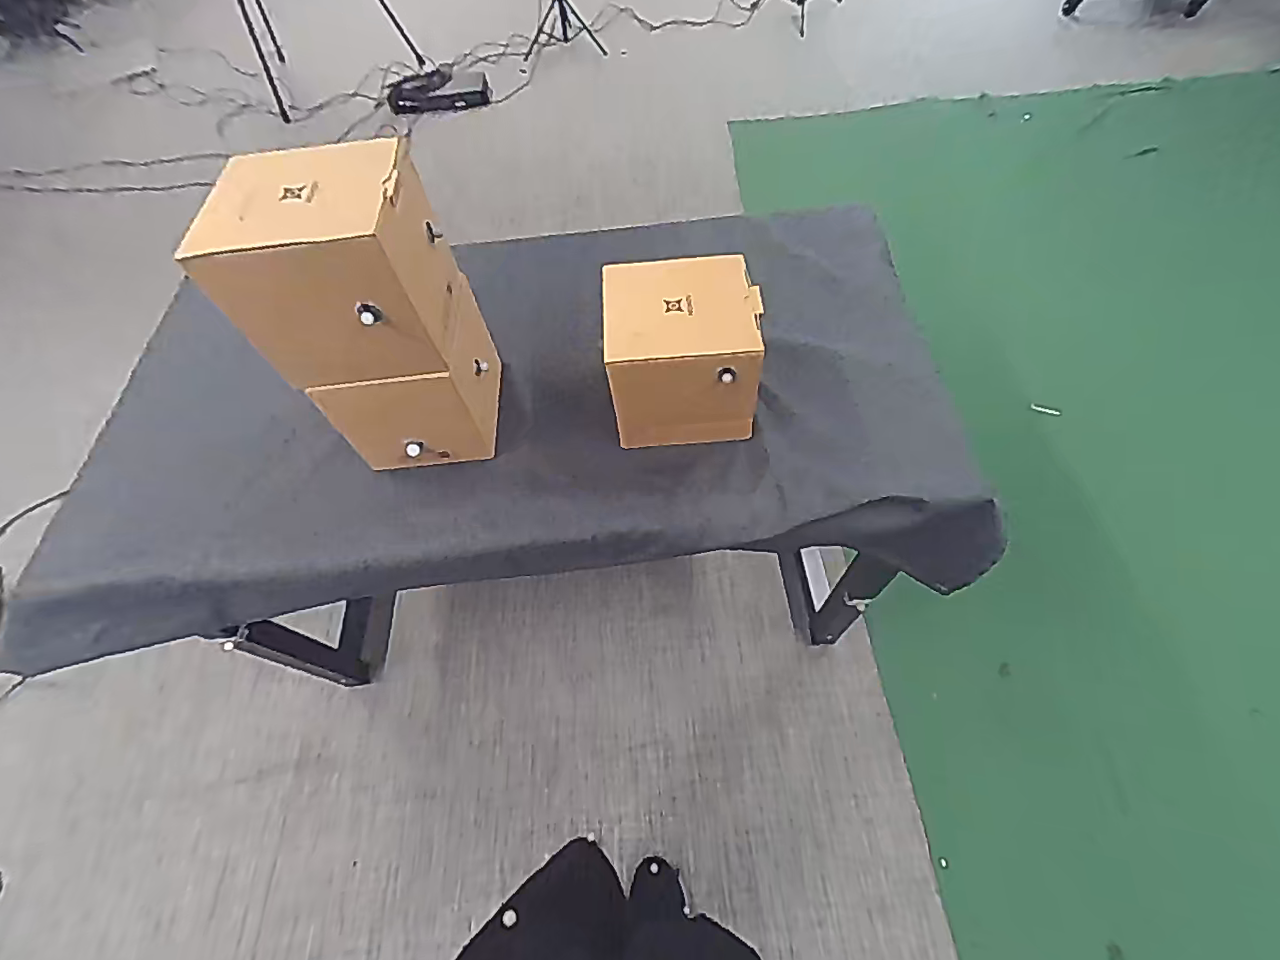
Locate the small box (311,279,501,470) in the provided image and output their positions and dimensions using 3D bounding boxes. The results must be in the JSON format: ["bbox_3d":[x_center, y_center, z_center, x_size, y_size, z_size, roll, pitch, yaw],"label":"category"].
[{"bbox_3d":[-0.288,-0.134,0.712,0.168,0.176,0.179,-6,59,1],"label":"small box"}]

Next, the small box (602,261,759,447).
[{"bbox_3d":[0.048,-0.156,0.701,0.179,0.176,0.168,-4,58,1],"label":"small box"}]

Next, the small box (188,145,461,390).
[{"bbox_3d":[-0.306,-0.216,0.573,0.179,0.176,0.168,-7,57,1],"label":"small box"}]
